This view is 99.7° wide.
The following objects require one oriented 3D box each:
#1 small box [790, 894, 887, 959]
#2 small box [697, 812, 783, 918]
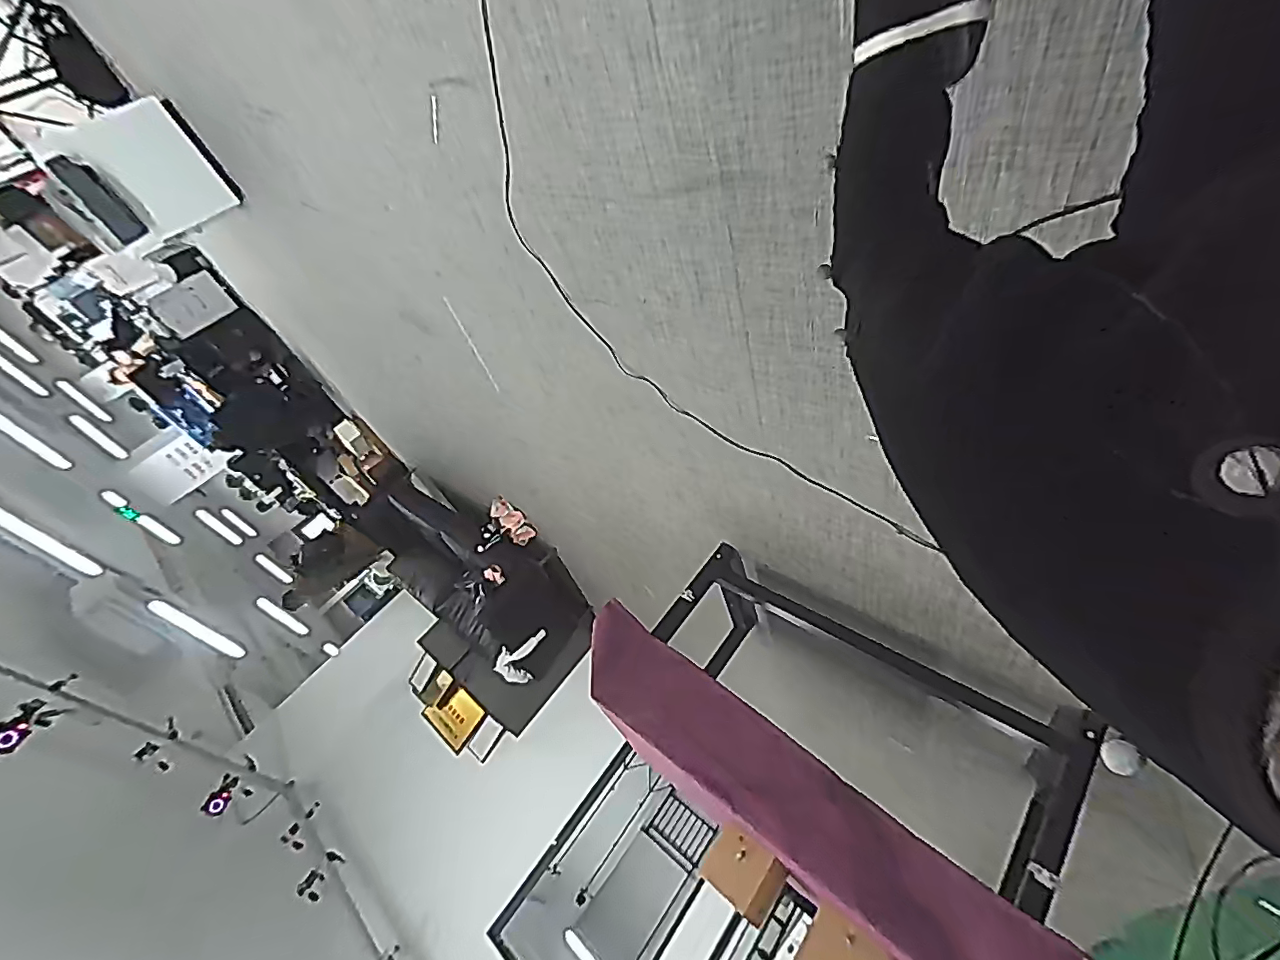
[{"bbox_3d":[0.514,1.212,1.395,0.179,0.176,0.168,22,149,40],"label":"small box"},{"bbox_3d":[0.300,1.124,1.586,0.168,0.176,0.179,18,145,44],"label":"small box"}]
